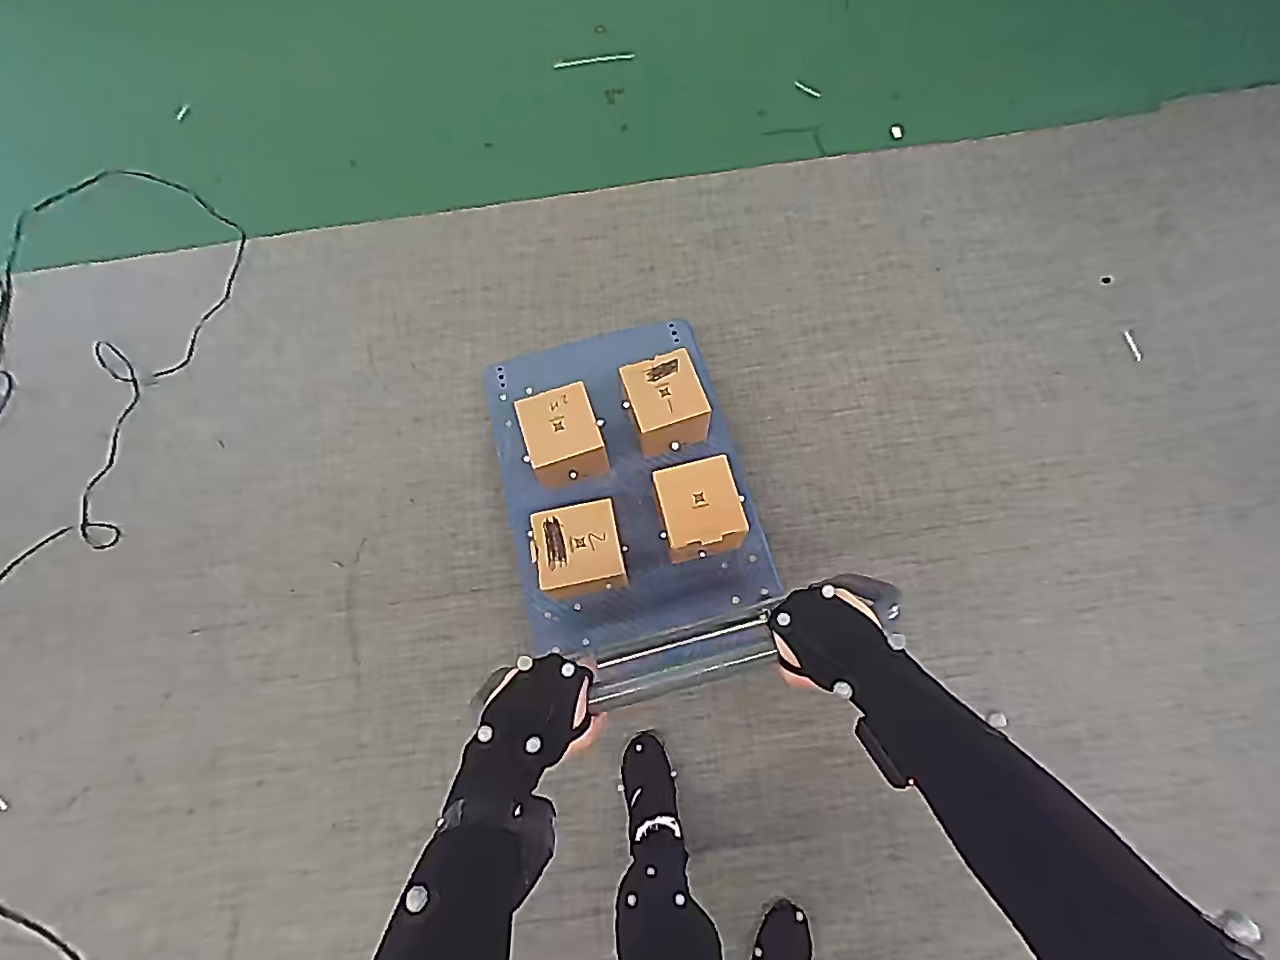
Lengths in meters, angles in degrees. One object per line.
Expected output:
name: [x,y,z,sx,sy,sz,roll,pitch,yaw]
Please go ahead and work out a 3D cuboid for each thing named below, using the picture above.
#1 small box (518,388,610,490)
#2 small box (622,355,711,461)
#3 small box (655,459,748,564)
small box: [-0.177,-0.089,1.302,0.168,0.176,0.179,-18,71,-5]
small box: [0.061,-0.170,1.319,0.168,0.176,0.179,-18,72,-3]
small box: [0.131,0.077,1.231,0.168,0.176,0.179,-14,71,-3]
